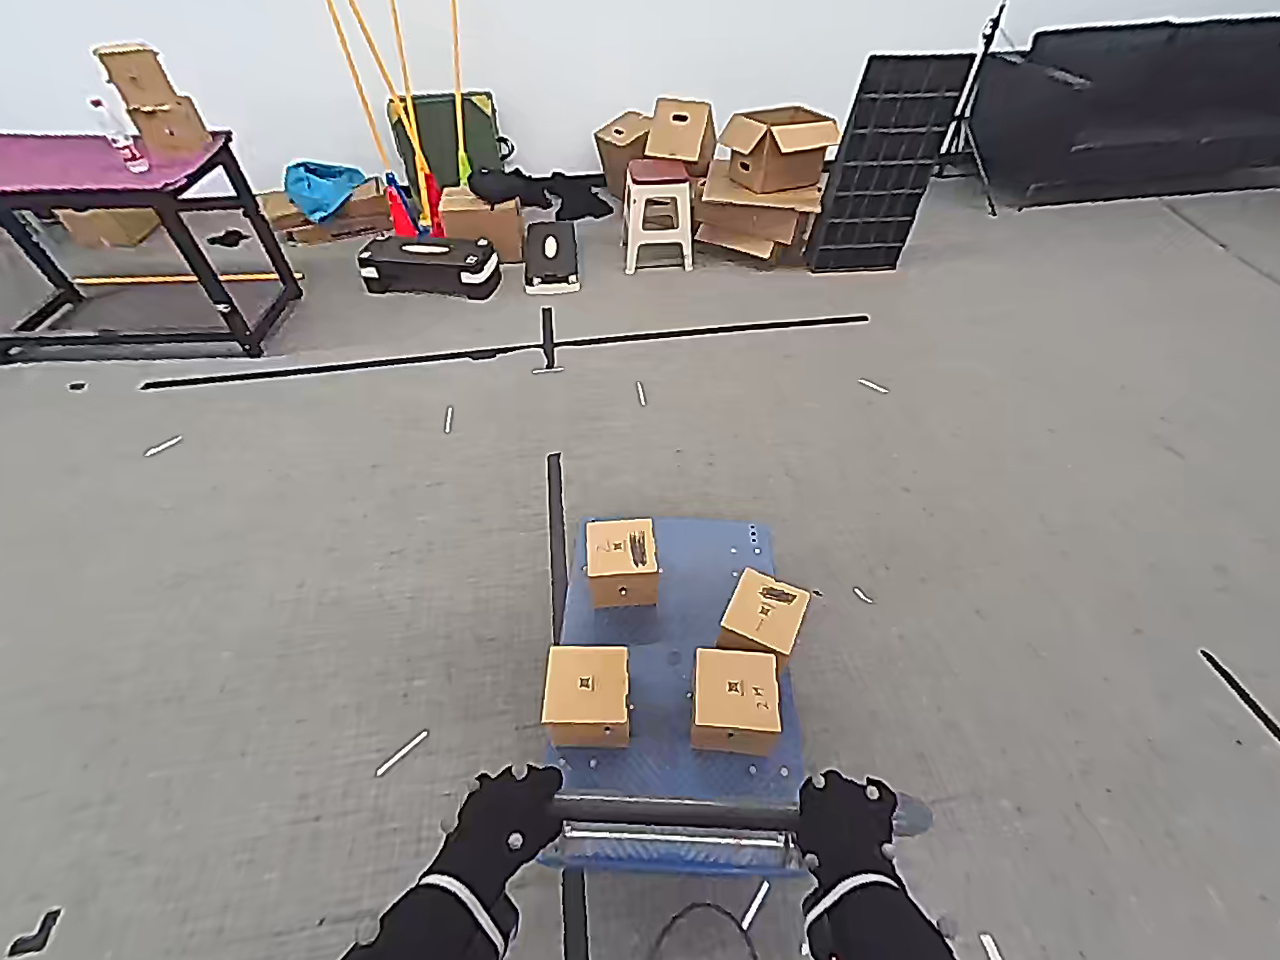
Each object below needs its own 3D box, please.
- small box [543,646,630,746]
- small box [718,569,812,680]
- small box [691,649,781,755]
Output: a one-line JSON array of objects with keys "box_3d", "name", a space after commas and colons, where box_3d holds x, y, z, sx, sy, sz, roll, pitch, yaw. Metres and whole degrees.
[{"box_3d": [-0.111, 0.484, 1.207, 0.179, 0.176, 0.168, 1, 49, -1], "name": "small box"}, {"box_3d": [0.298, 0.355, 1.316, 0.168, 0.176, 0.179, 21, 53, 18], "name": "small box"}, {"box_3d": [0.206, 0.493, 1.196, 0.179, 0.176, 0.168, 4, 49, 4], "name": "small box"}]
